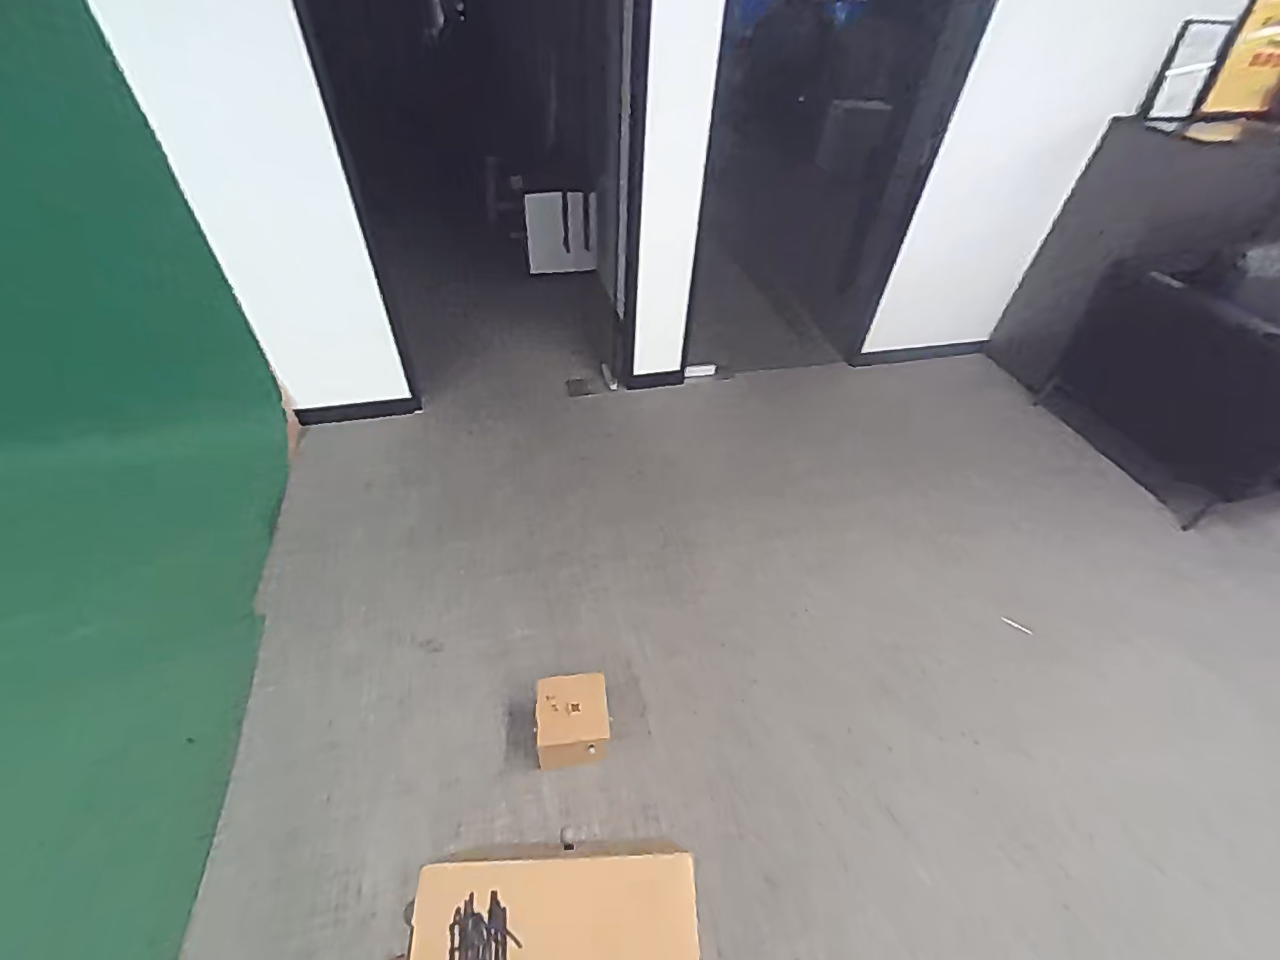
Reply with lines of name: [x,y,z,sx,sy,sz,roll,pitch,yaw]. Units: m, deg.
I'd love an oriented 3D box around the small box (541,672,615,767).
small box: [-0.160,0.613,1.384,0.179,0.176,0.168,-4,46,-8]
